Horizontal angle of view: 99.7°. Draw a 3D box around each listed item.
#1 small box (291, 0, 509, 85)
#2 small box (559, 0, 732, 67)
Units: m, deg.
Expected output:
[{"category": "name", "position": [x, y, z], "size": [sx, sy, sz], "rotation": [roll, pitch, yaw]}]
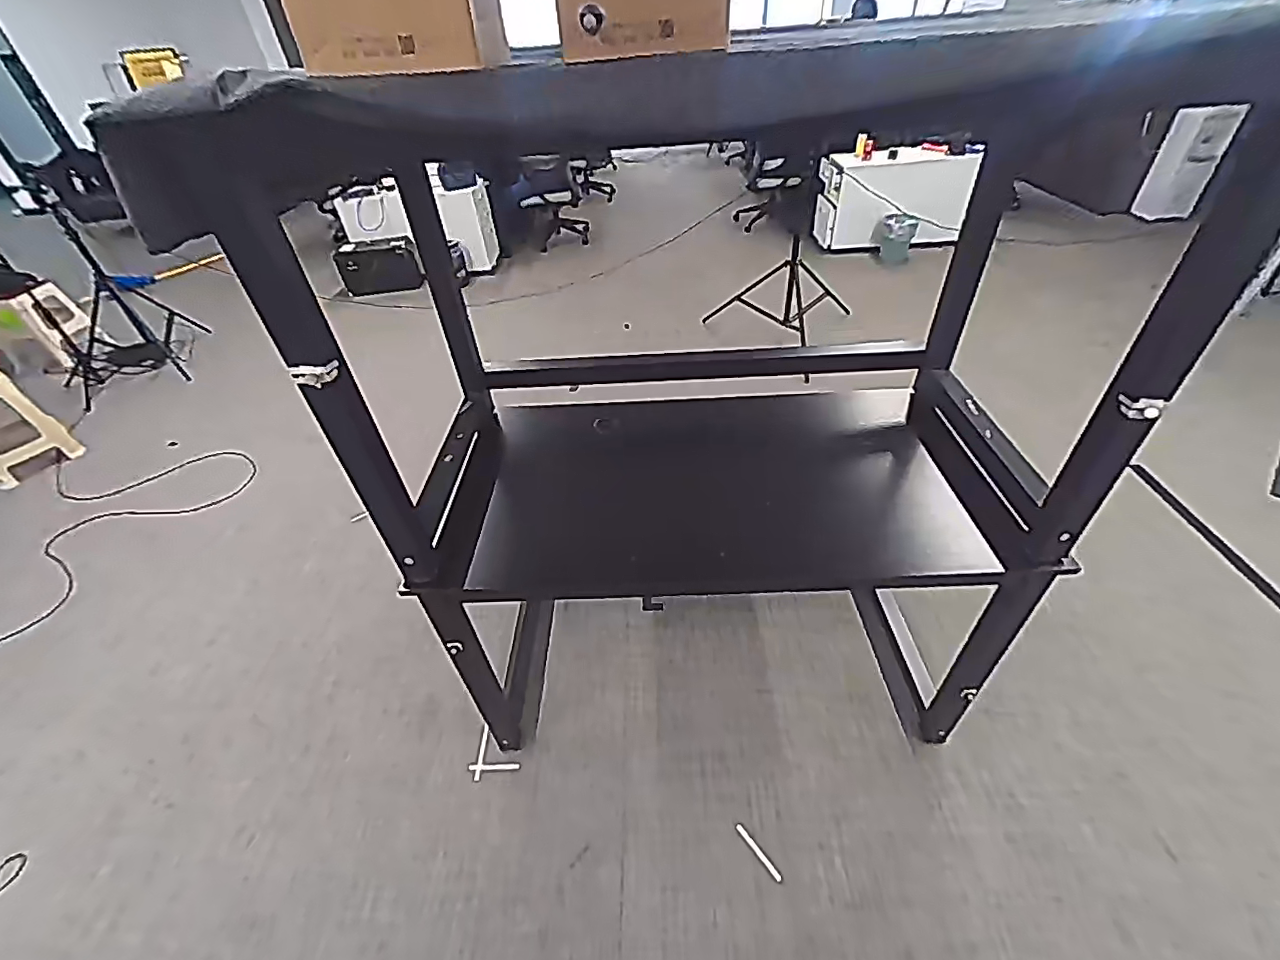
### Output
[{"category": "small box", "position": [-0.237, -0.499, 0.532], "size": [0.168, 0.176, 0.179], "rotation": [-2, 38, 2]}, {"category": "small box", "position": [0.005, -0.527, 0.542], "size": [0.168, 0.176, 0.179], "rotation": [-1, 38, 4]}]
